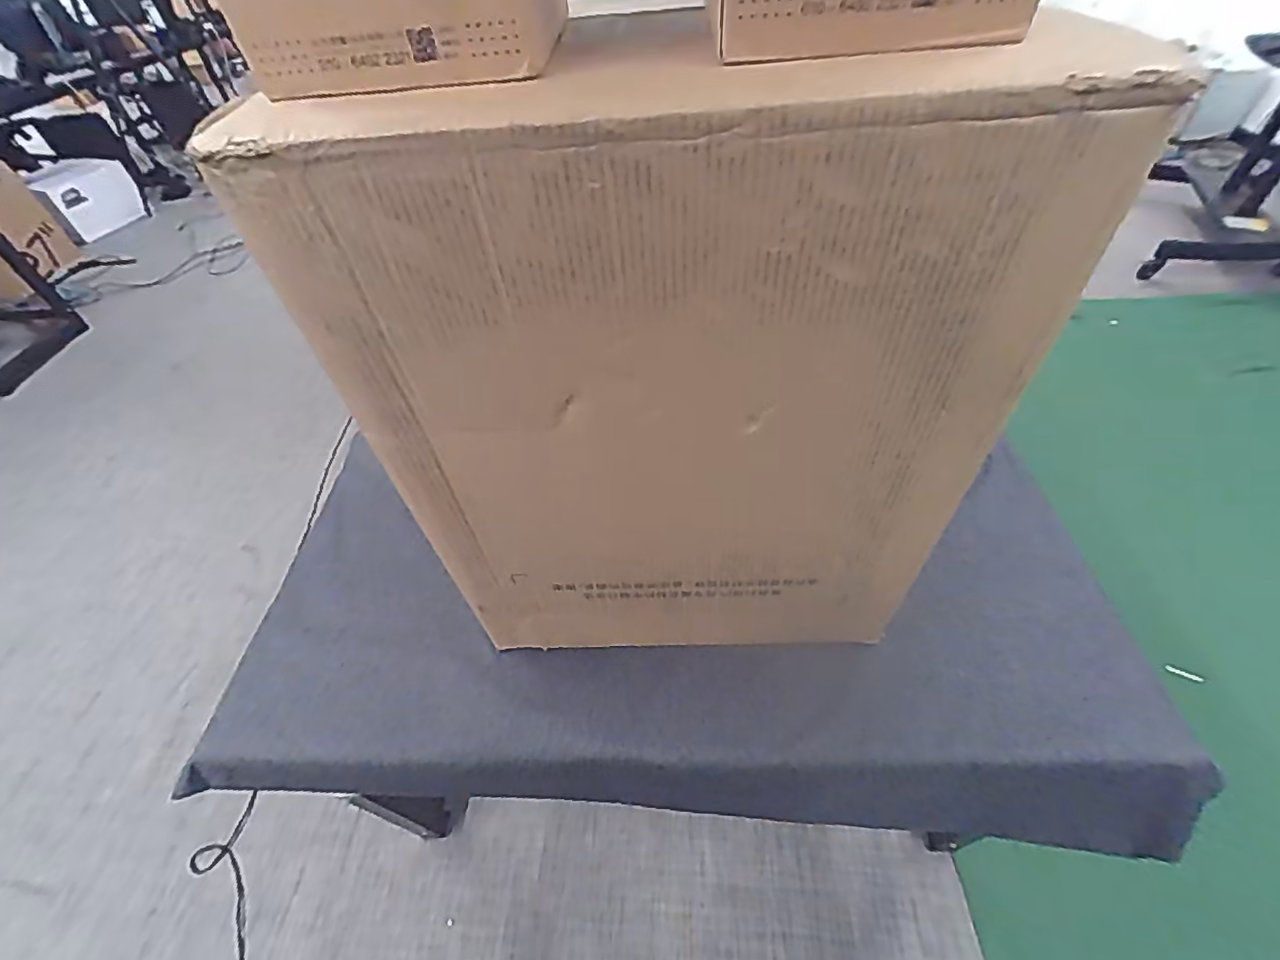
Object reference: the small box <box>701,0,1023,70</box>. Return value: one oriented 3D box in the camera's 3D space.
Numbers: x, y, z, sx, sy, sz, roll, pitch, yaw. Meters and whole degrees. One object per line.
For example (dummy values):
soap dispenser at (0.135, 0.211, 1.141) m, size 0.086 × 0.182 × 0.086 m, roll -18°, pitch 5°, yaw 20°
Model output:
small box at (0.123, -0.345, 0.297) m, size 0.168 × 0.176 × 0.179 m, roll 0°, pitch 49°, yaw 1°
